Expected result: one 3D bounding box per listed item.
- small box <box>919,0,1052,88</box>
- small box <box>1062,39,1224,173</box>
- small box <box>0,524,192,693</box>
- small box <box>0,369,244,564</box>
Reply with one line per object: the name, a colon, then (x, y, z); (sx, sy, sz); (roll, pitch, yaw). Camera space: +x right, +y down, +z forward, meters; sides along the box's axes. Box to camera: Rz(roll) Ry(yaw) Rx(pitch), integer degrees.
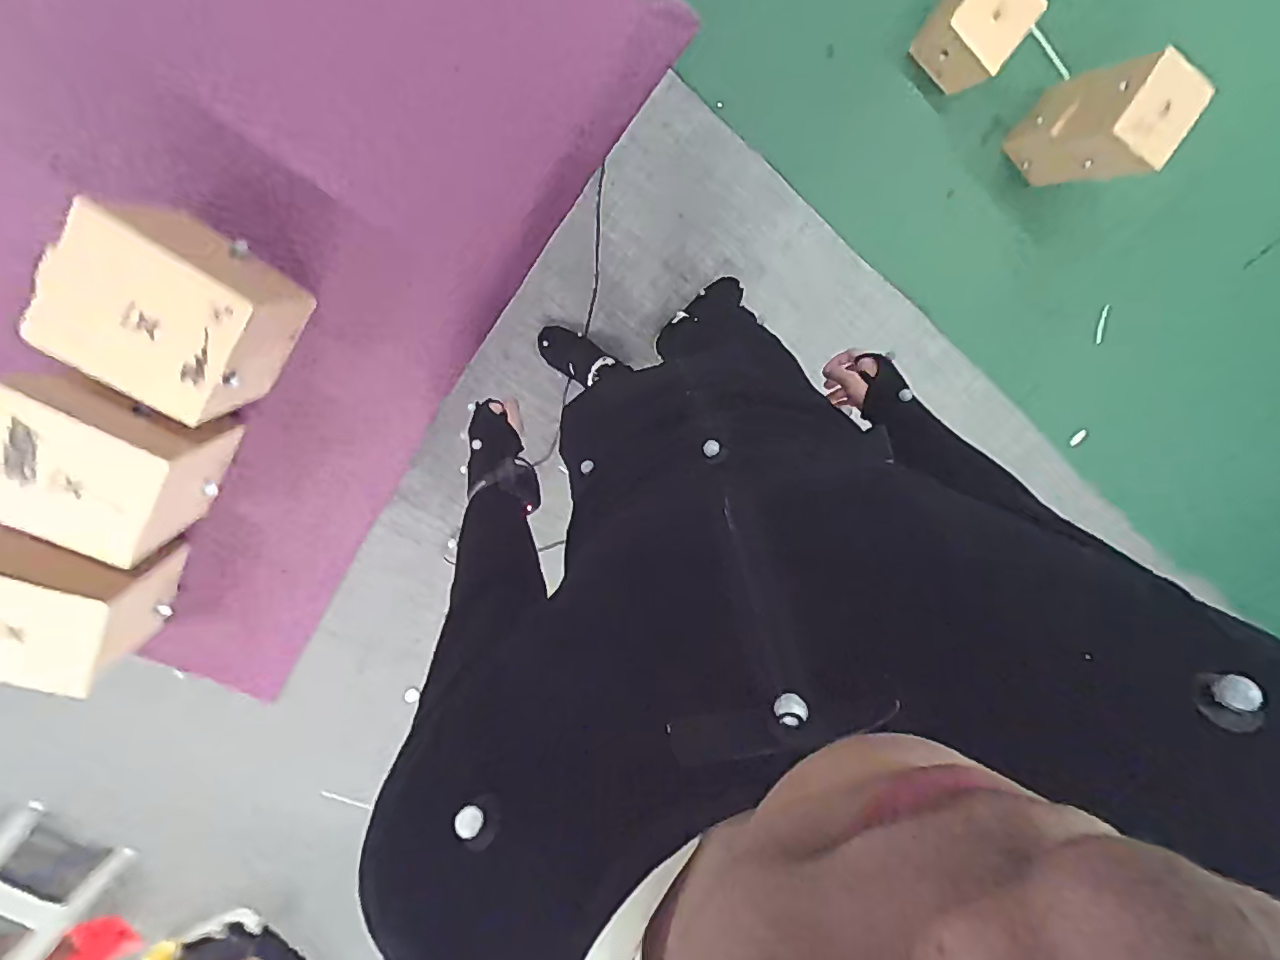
small box: (0.791, -1.070, 1.263); (0.168, 0.176, 0.179); (31, 104, -17)
small box: (1.122, -0.829, 1.222); (0.168, 0.176, 0.179); (23, 107, -15)
small box: (-0.795, 0.156, 0.760); (0.179, 0.176, 0.168); (26, 107, -17)
small box: (-0.675, -0.028, 0.703); (0.179, 0.176, 0.168); (30, 105, -18)
